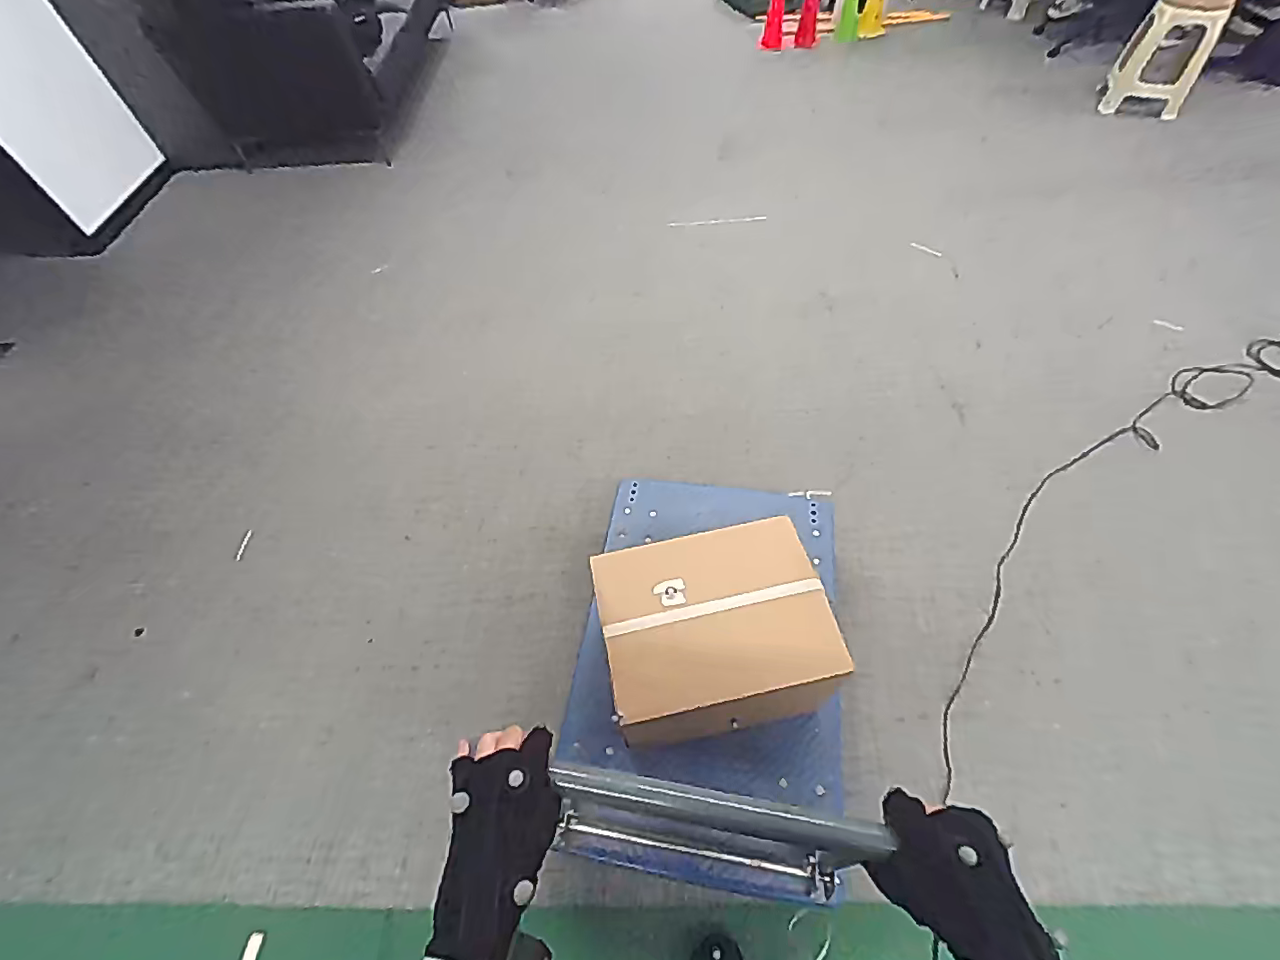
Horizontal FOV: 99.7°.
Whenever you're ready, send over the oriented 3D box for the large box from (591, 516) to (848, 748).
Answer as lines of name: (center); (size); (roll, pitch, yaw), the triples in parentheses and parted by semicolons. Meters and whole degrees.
large box: (0.142, 0.319, 1.106); (0.408, 0.320, 0.320); (-13, 55, -3)
